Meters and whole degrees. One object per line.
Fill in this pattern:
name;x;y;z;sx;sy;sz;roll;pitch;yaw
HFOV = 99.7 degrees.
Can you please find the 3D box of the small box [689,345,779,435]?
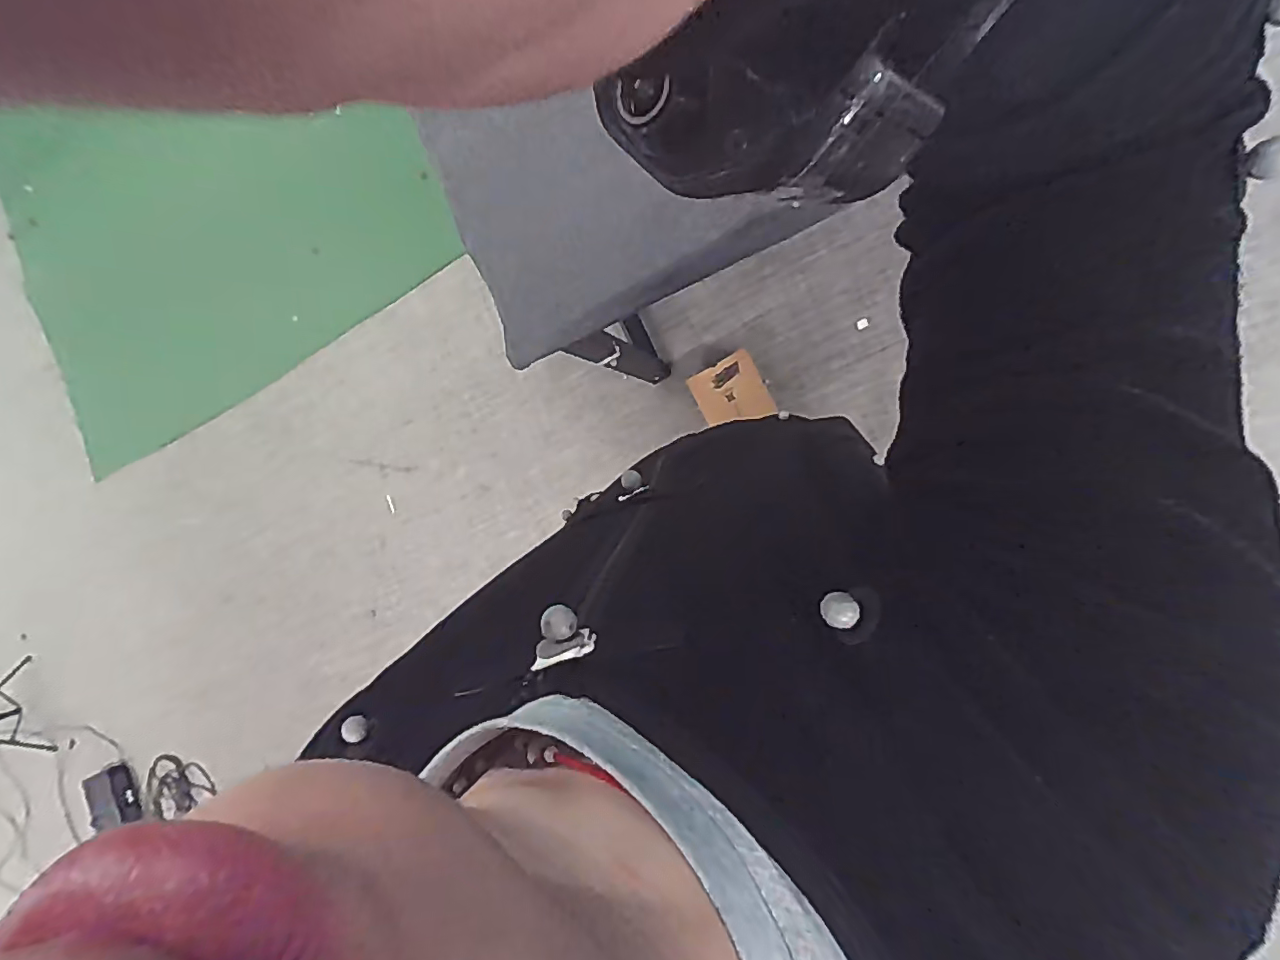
small box;0.251;-0.228;1.418;0.168;0.176;0.179;-27;87;18
